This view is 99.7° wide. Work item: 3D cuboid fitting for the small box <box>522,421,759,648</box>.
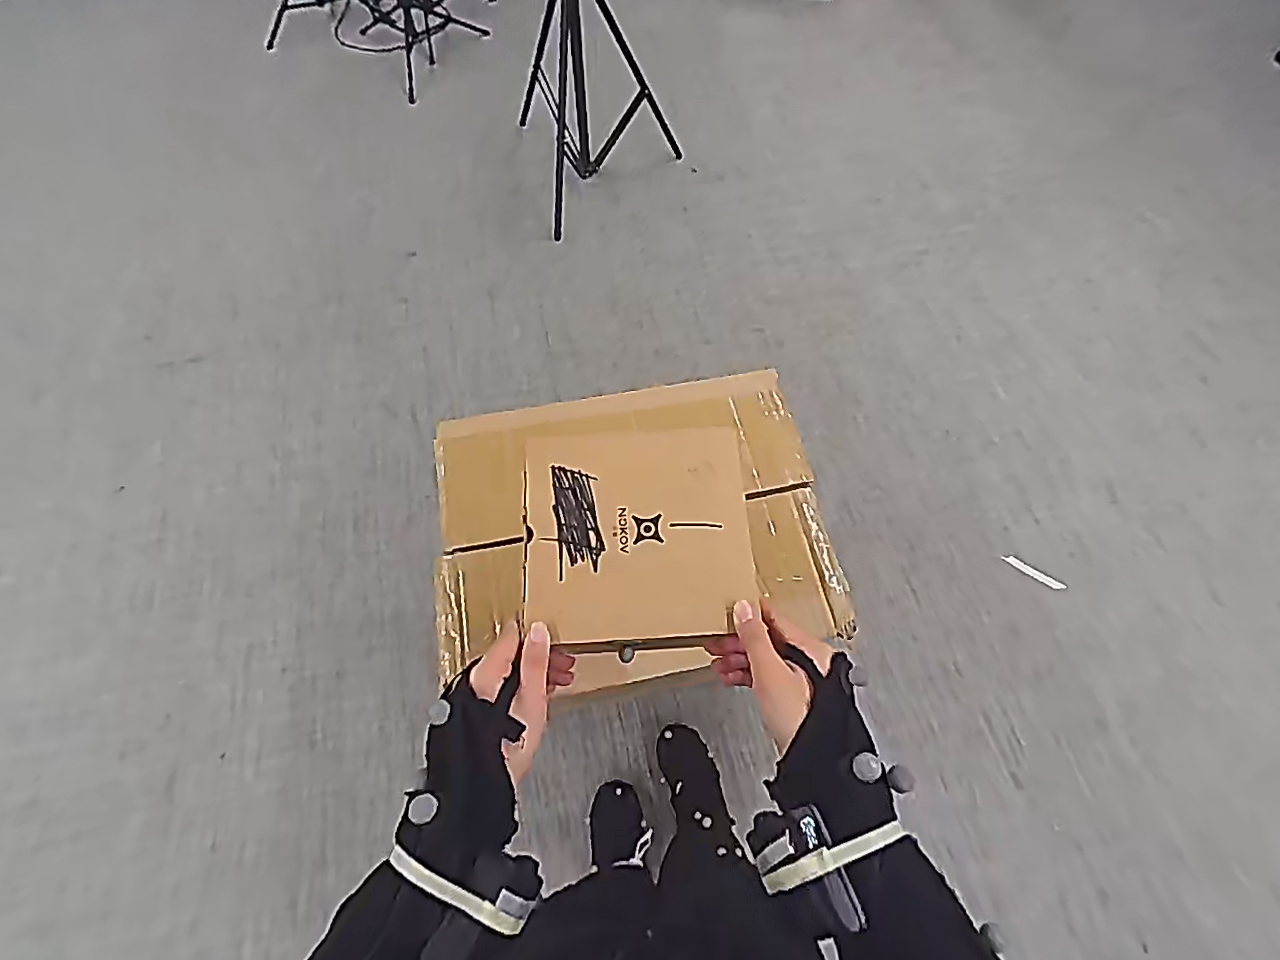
[{"bbox_3d":[-0.004,0.060,0.494,0.179,0.176,0.168,-3,70,-3],"label":"small box"}]
